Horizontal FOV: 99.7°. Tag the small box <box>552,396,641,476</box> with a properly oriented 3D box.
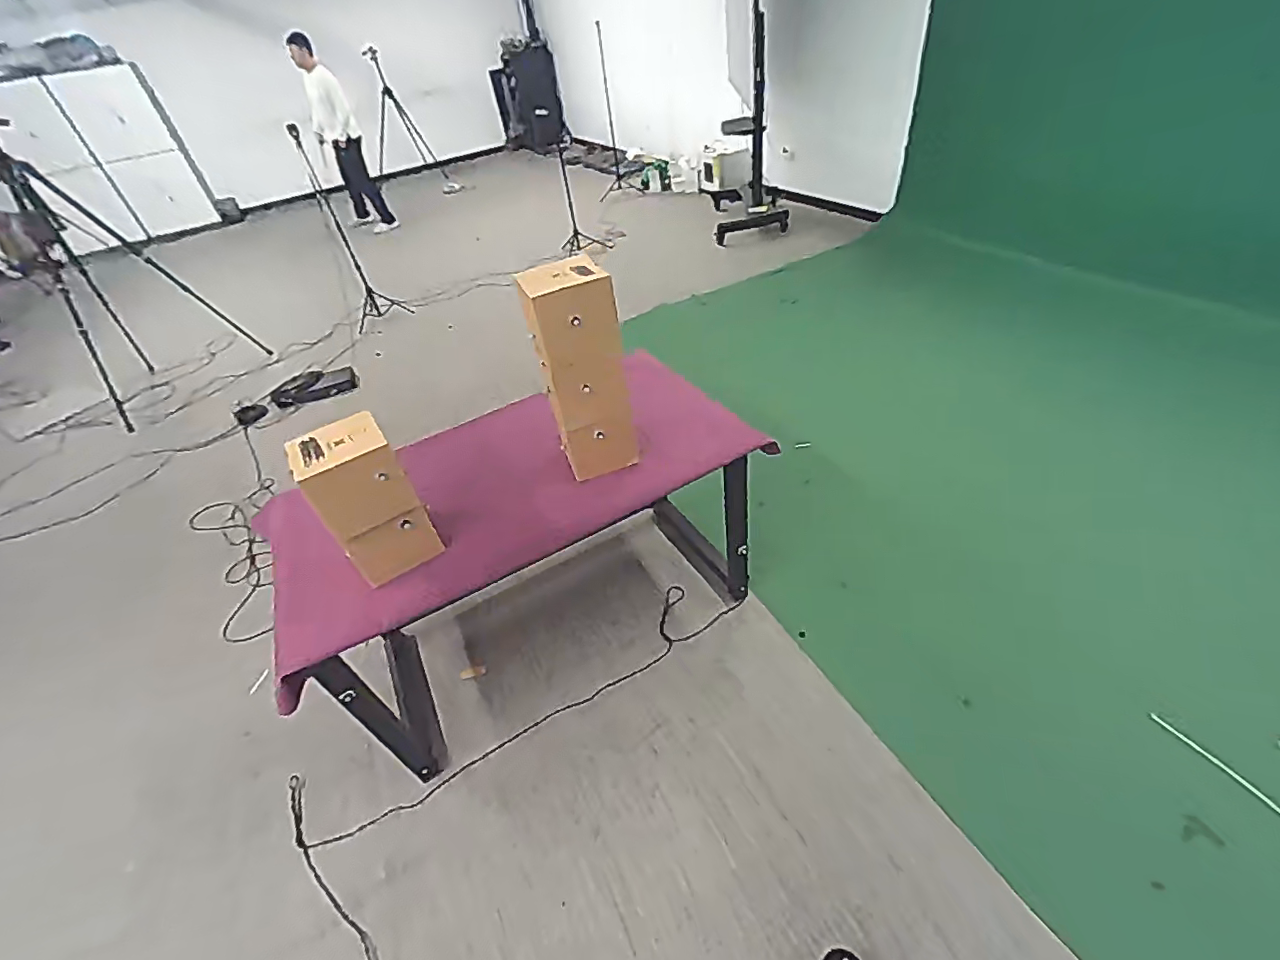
[{"bbox_3d":[-0.112,-0.136,1.401,0.179,0.176,0.168,-18,42,-9],"label":"small box"}]

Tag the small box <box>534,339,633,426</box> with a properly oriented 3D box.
[{"bbox_3d":[-0.133,-0.255,1.292,0.179,0.176,0.168,-21,43,-10],"label":"small box"}]

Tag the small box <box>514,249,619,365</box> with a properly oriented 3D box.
[{"bbox_3d":[-0.155,-0.378,1.185,0.179,0.176,0.168,-22,43,-11],"label":"small box"}]

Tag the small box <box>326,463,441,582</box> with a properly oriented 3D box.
[{"bbox_3d":[-0.576,0.097,1.233,0.179,0.176,0.168,-29,45,-20],"label":"small box"}]
